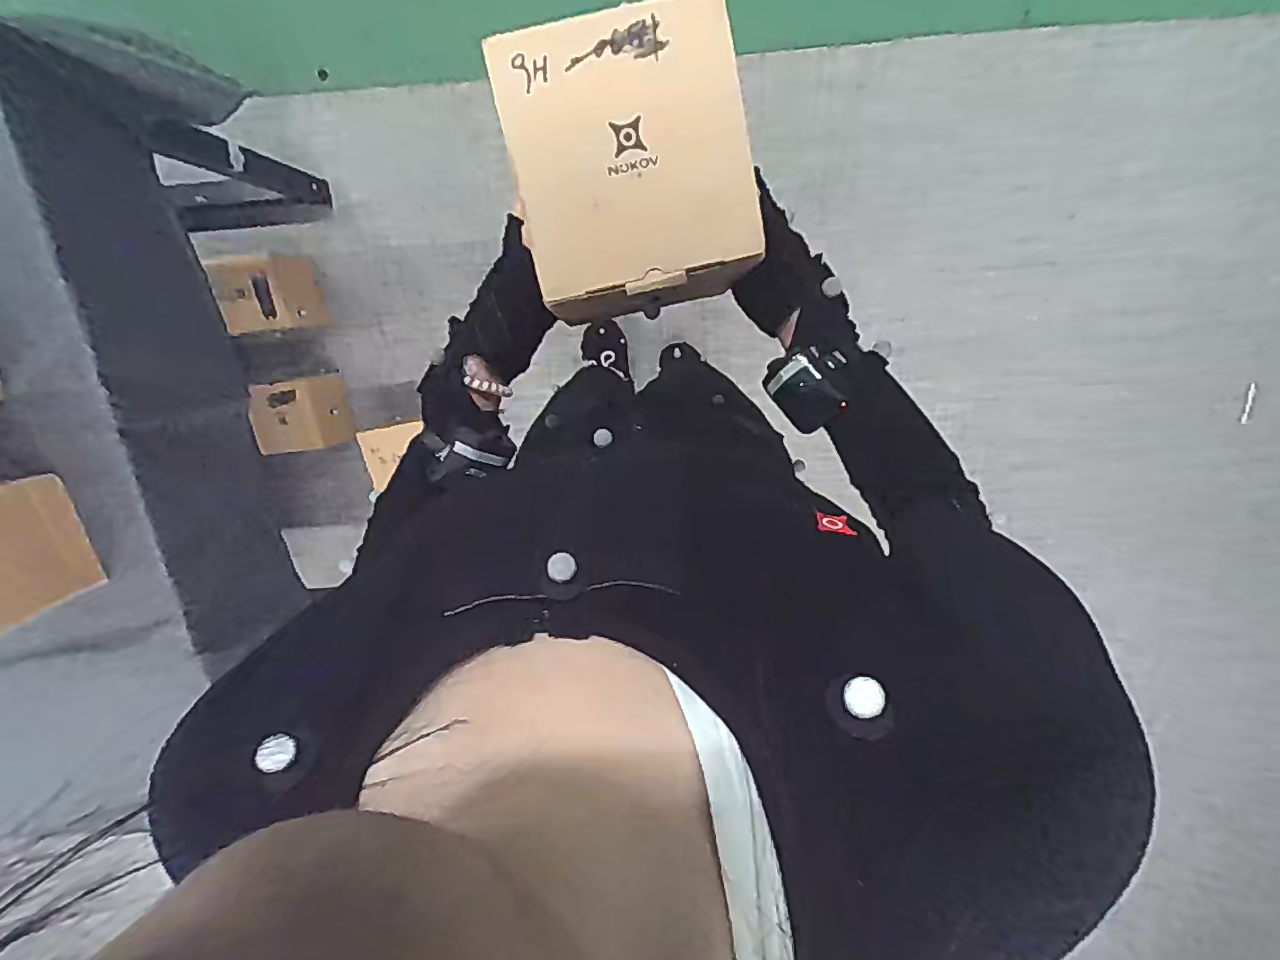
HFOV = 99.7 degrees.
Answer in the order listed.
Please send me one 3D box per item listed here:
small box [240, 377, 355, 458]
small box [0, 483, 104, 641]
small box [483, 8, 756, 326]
[{"bbox_3d":[-0.873,-0.168,1.396,0.168,0.176,0.179,-5,108,3],"label":"small box"},{"bbox_3d":[-0.898,0.119,0.728,0.168,0.176,0.179,-8,106,4],"label":"small box"},{"bbox_3d":[-0.012,-0.231,0.454,0.168,0.176,0.179,-12,102,0],"label":"small box"}]
